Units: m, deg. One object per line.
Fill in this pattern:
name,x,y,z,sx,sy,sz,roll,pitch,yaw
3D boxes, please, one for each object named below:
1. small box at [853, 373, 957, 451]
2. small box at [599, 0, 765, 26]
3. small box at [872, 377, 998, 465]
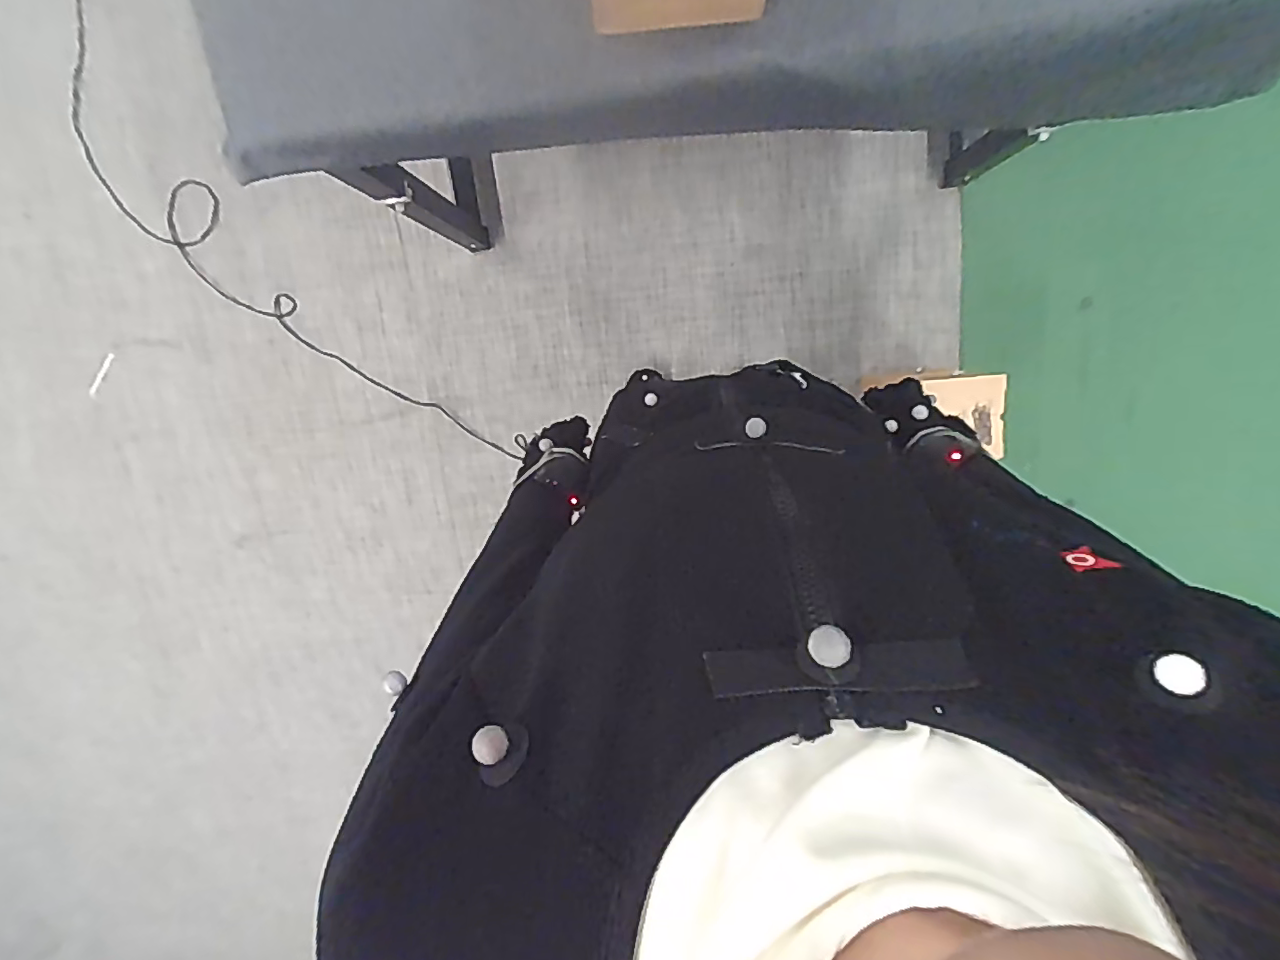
small box,0.627,-0.165,1.293,0.179,0.176,0.168,-5,101,5
small box,0.038,-0.552,0.487,0.179,0.176,0.168,-2,101,3
small box,0.608,-0.129,1.133,0.179,0.176,0.168,-3,101,4
